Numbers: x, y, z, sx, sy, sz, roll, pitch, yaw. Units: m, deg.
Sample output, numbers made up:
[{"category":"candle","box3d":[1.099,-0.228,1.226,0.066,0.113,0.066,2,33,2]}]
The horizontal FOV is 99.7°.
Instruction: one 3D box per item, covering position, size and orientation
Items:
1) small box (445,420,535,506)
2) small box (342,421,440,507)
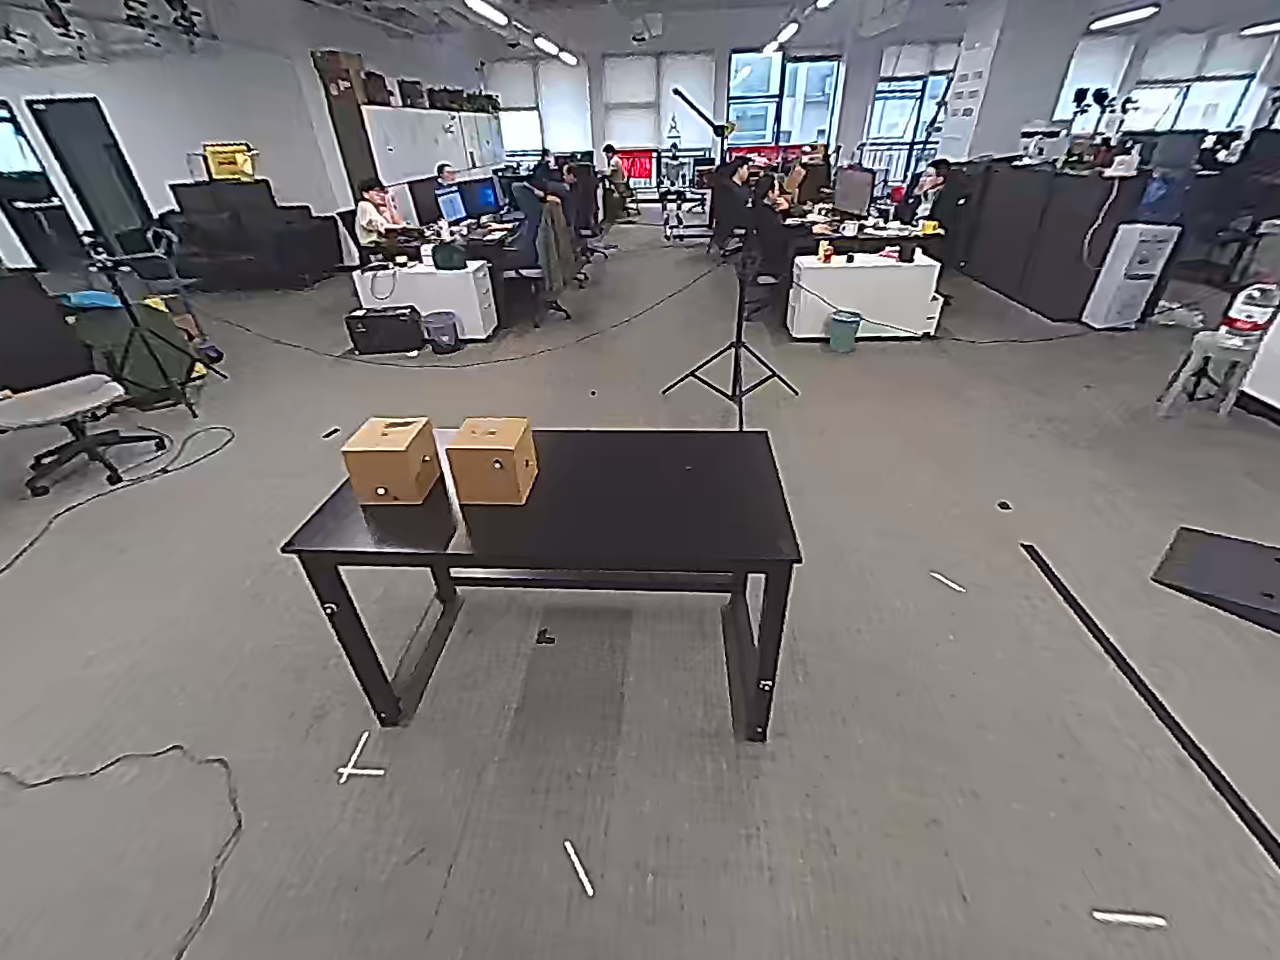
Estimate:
[{"category":"small box","box3d":[-0.383,-0.044,1.422,0.179,0.176,0.168,1,32,3]},{"category":"small box","box3d":[-0.649,-0.045,1.439,0.168,0.176,0.179,-1,34,2]}]
